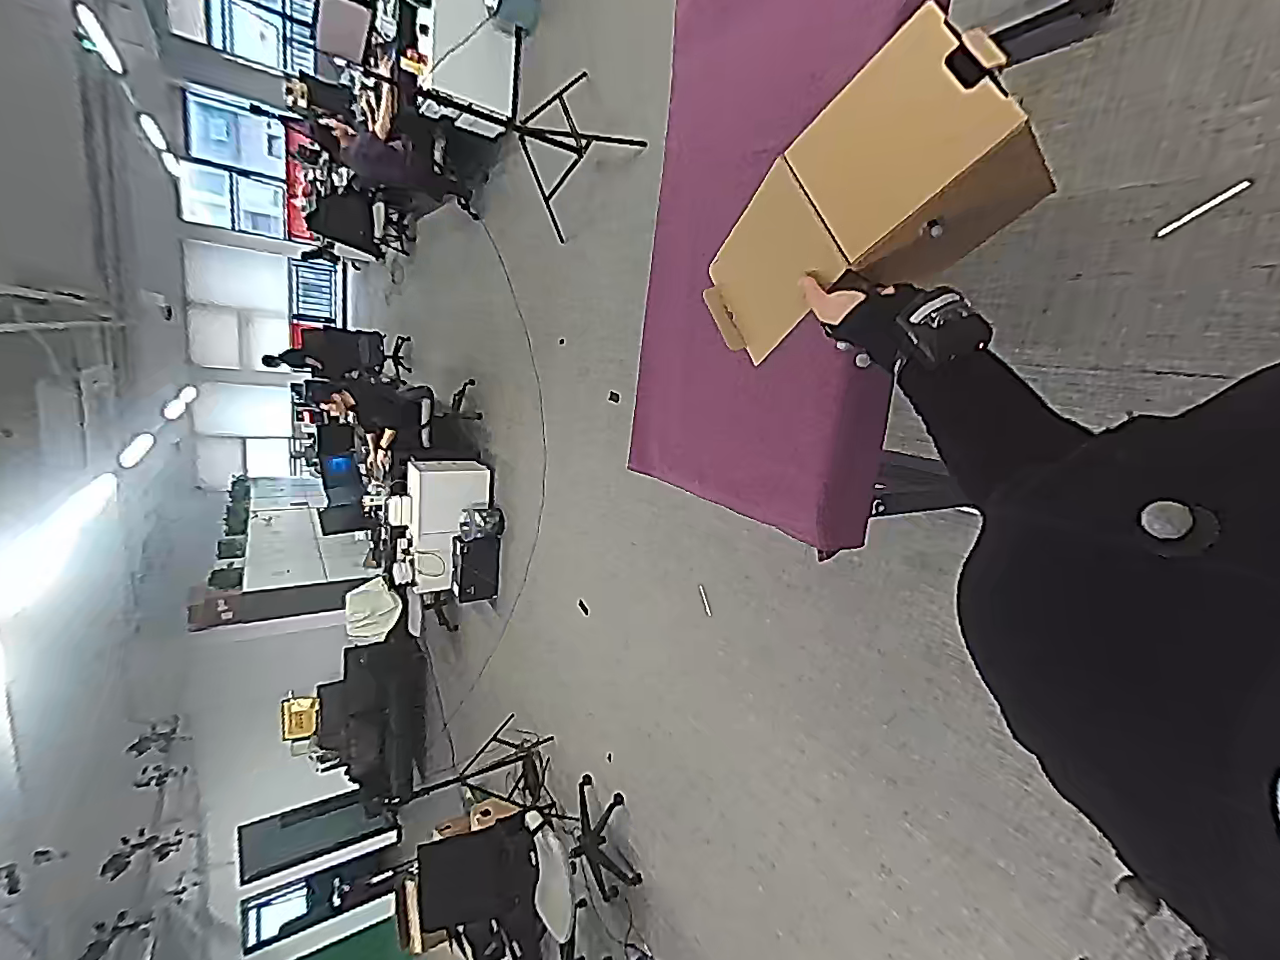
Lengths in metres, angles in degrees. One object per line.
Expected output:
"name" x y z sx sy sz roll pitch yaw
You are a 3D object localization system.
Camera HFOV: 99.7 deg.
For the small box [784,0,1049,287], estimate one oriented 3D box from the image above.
"small box" 0.297 -0.339 0.586 0.179 0.176 0.168 -37 68 40
